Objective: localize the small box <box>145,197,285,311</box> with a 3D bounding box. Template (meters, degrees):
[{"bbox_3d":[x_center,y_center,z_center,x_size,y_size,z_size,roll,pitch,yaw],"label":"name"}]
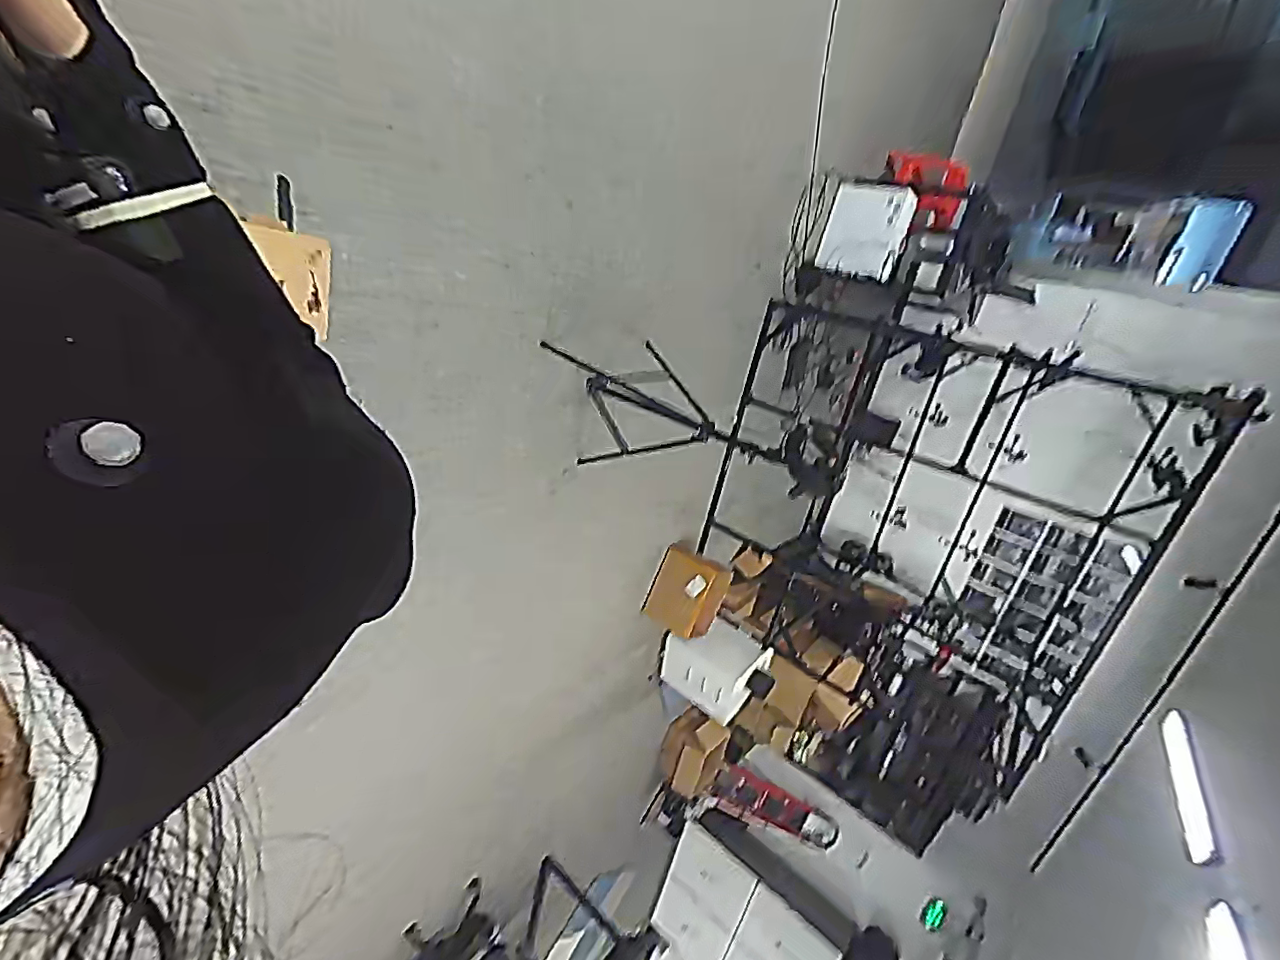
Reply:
[{"bbox_3d":[-0.771,-0.396,0.981,0.168,0.176,0.179,-8,118,-51],"label":"small box"}]

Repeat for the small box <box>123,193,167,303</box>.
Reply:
[{"bbox_3d":[-0.895,-0.450,1.075,0.168,0.176,0.179,-12,121,-51],"label":"small box"}]

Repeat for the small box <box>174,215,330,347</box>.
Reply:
[{"bbox_3d":[-0.647,-0.328,0.897,0.179,0.176,0.168,-9,119,-51],"label":"small box"}]
